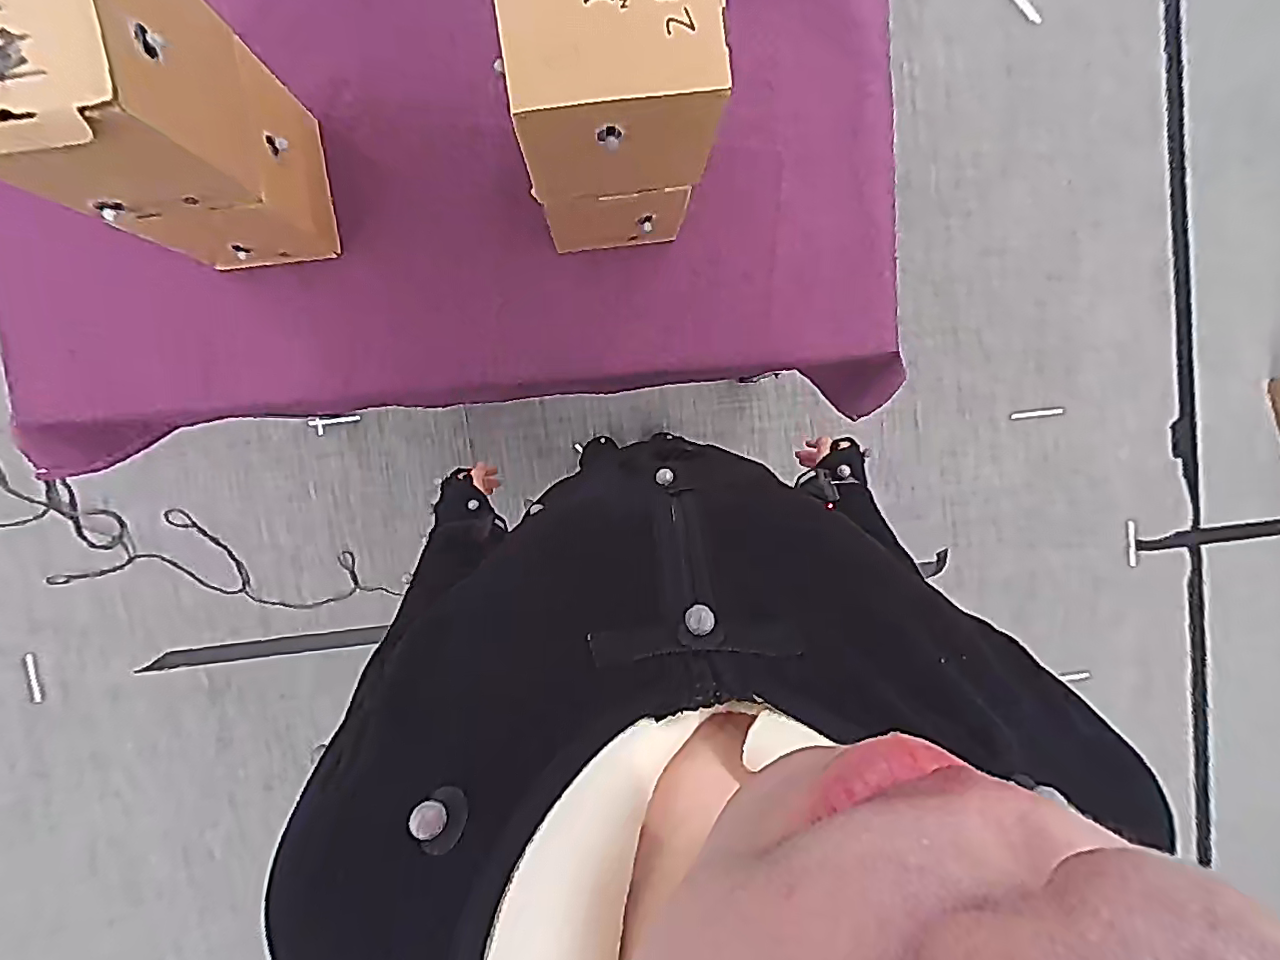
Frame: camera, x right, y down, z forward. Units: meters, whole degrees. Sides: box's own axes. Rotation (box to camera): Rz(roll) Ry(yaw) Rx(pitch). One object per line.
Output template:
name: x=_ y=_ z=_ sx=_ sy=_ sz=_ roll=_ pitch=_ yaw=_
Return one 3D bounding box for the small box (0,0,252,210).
small box: x=-0.480 y=-0.354 z=0.467 sx=0.168 sy=0.176 sz=0.179 roll=-9 pitch=96 yaw=-3

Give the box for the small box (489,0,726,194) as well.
small box: x=-0.032 y=-0.380 z=0.487 sx=0.179 sy=0.176 sz=0.168 roll=-8 pitch=97 yaw=-3

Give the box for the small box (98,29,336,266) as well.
small box: x=-0.488 y=-0.370 z=0.631 sx=0.168 sy=0.176 sz=0.179 roll=-8 pitch=97 yaw=-3

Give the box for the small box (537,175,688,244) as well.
small box: x=-0.040 y=-0.399 z=0.650 sx=0.168 sy=0.176 sz=0.179 roll=-7 pitch=95 yaw=-3
